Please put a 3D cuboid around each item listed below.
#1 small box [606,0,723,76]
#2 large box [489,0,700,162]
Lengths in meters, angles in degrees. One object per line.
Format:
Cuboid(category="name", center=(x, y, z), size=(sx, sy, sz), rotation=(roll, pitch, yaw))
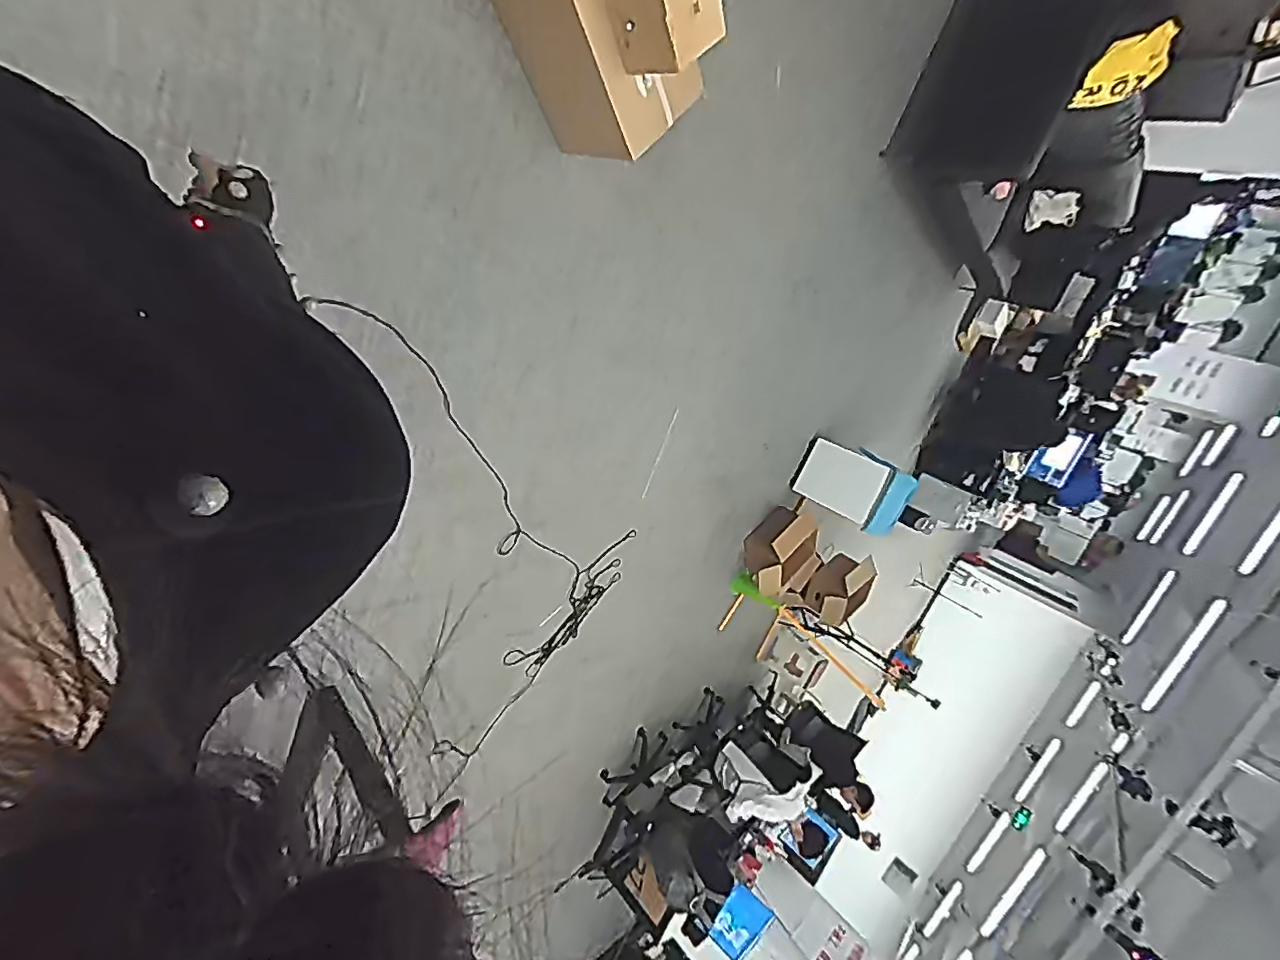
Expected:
Cuboid(category="small box", center=(0.056, -1.030, 1.197), size=(0.179, 0.176, 0.168), rotation=(-48, 143, -15))
Cuboid(category="large box", center=(-0.102, -1.106, 1.372), size=(0.320, 0.320, 0.408), rotation=(-49, 144, -11))
